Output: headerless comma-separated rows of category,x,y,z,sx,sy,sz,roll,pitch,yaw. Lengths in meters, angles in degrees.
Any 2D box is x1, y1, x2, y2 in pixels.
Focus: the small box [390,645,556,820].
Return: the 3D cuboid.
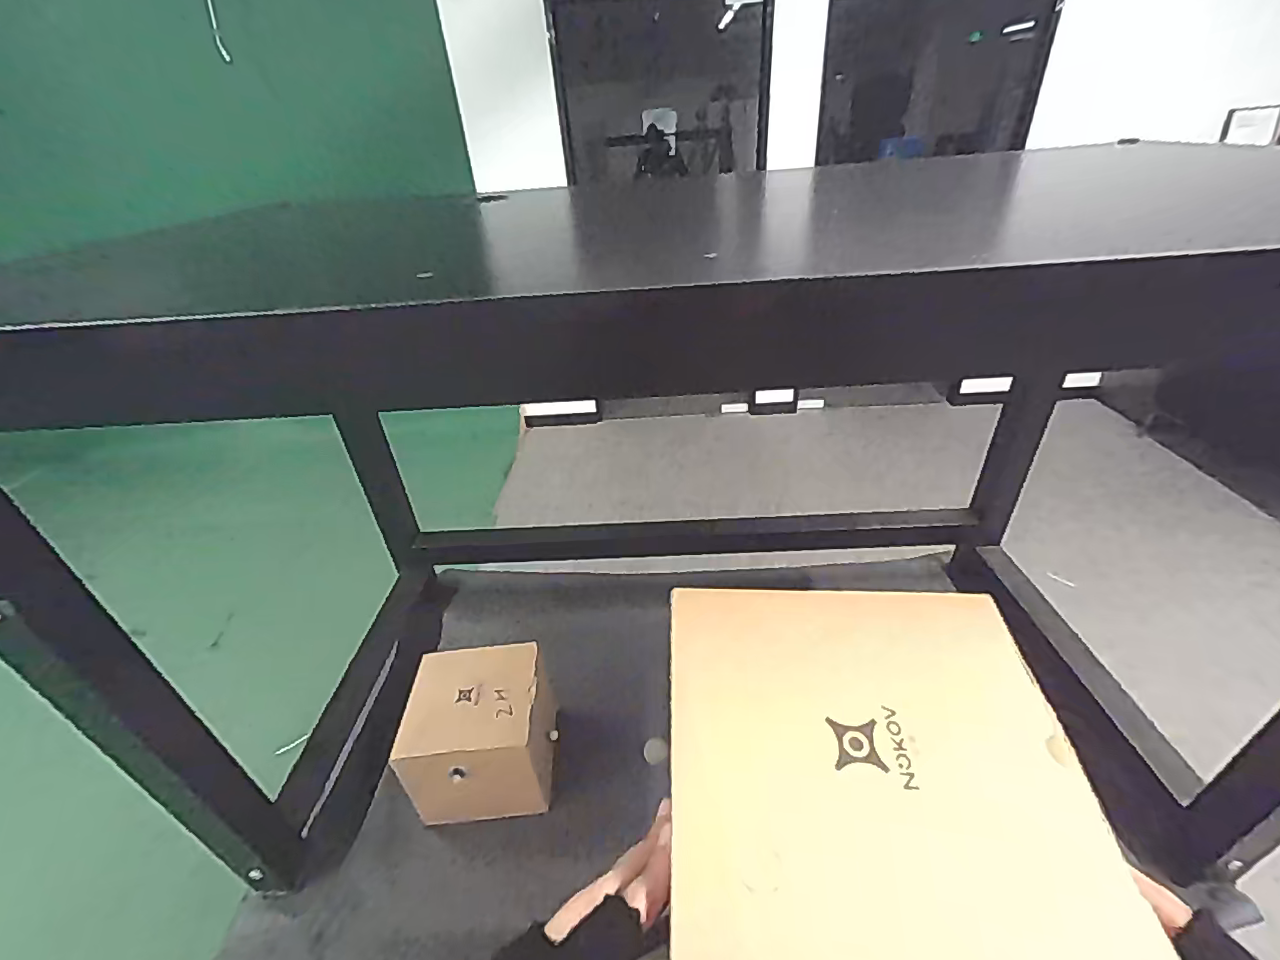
small box,-0.227,0.367,0.786,0.179,0.176,0.168,-5,33,-1
